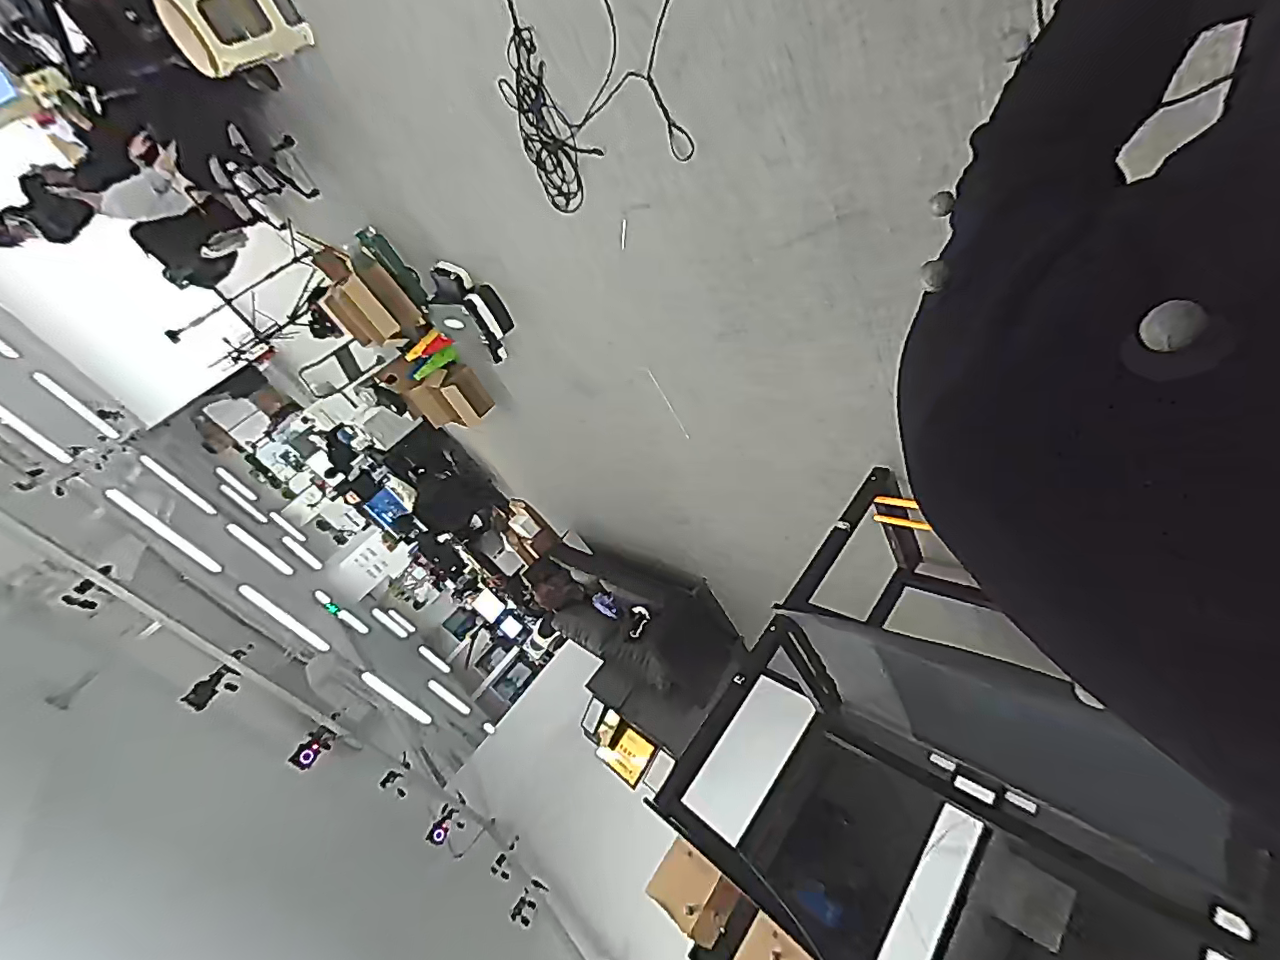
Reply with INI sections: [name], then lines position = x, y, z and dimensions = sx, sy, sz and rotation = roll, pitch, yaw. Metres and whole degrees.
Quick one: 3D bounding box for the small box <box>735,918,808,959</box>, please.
[small box]
position = 0.331, 1.181, 1.253
dimensions = 0.168, 0.176, 0.179
rotation = 5, 137, 54
